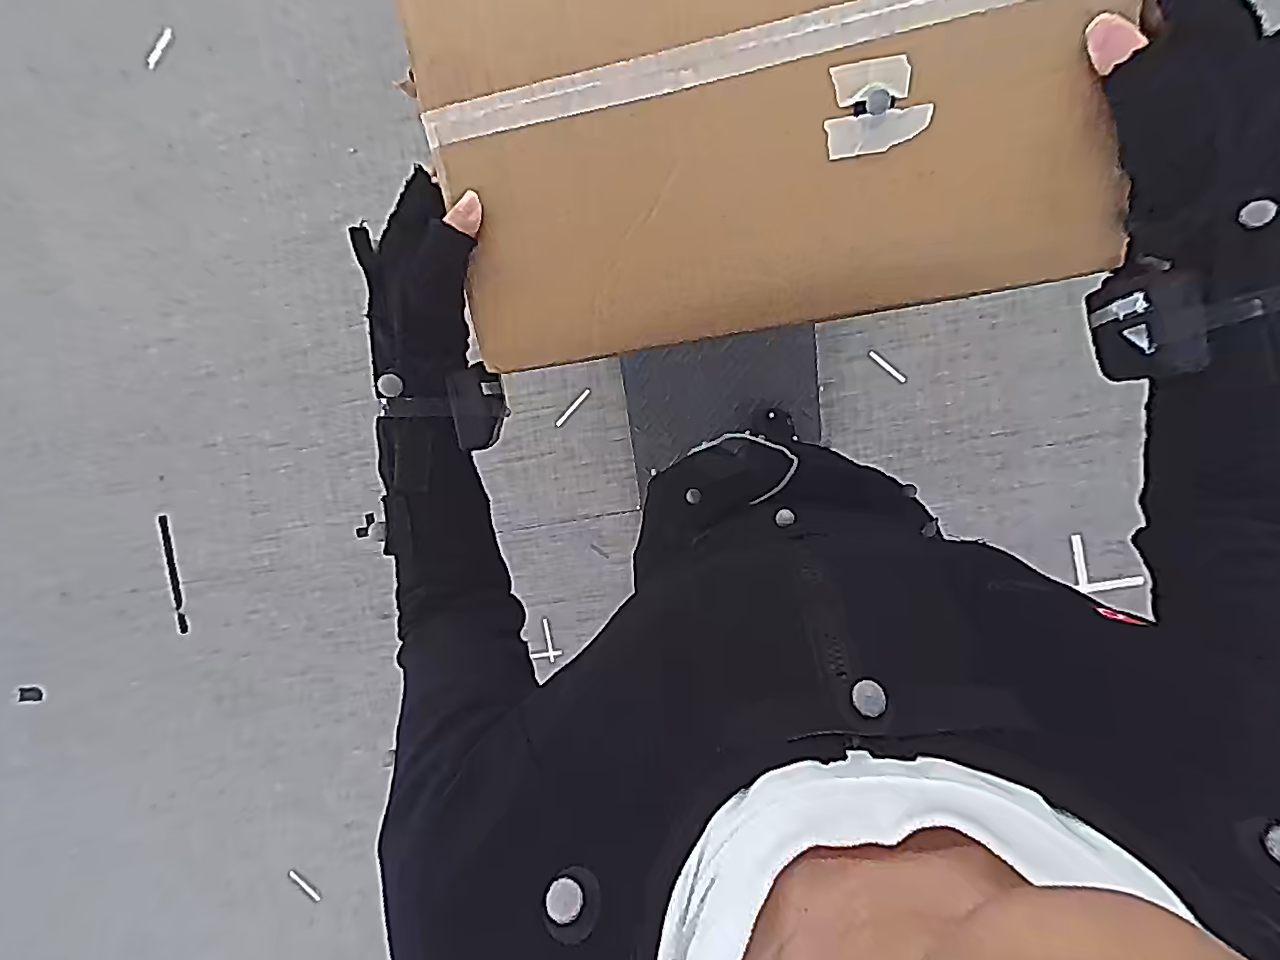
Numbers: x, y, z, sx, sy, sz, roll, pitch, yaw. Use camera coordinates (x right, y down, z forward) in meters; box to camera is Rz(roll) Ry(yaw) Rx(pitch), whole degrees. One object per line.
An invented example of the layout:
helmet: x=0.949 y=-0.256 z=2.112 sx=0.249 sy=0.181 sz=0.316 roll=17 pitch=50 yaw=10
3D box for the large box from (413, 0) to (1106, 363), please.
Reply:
large box: x=0.078 y=-0.297 z=0.471 sx=0.408 sy=0.320 sz=0.320 roll=-8 pitch=105 yaw=8
